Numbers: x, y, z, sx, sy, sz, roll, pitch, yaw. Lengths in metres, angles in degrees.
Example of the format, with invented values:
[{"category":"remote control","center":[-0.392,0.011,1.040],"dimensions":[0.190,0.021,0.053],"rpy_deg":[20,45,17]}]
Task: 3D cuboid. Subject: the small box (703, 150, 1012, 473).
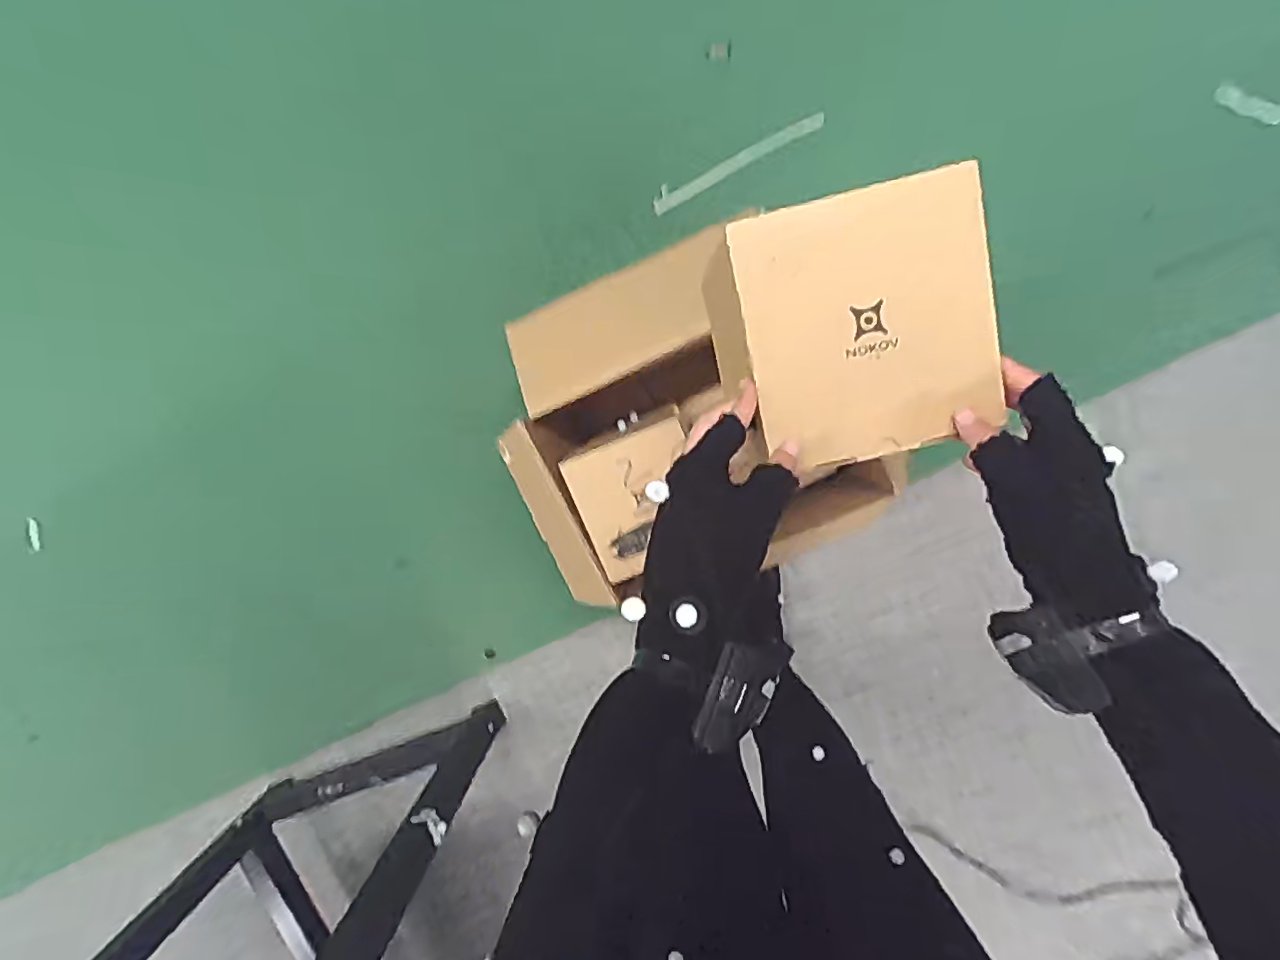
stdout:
[{"category":"small box","center":[0.152,-0.119,0.431],"dimensions":[0.168,0.176,0.179],"rpy_deg":[-14,101,4]}]
